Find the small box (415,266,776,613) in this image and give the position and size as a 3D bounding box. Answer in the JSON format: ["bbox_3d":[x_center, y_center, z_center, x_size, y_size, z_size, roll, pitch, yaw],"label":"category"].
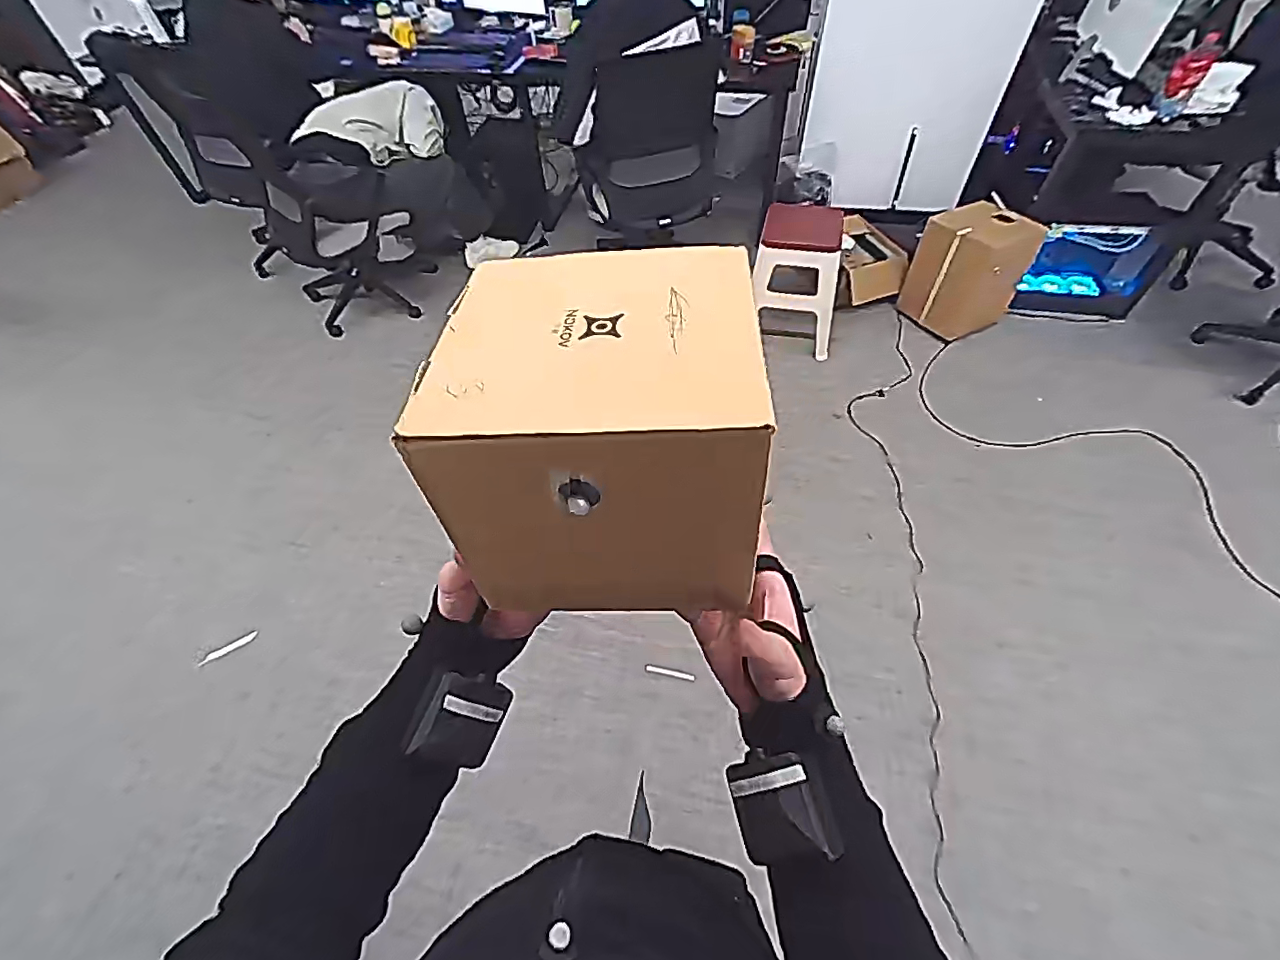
[{"bbox_3d":[-0.014,-0.022,0.363,0.179,0.176,0.168,0,50,4],"label":"small box"}]
